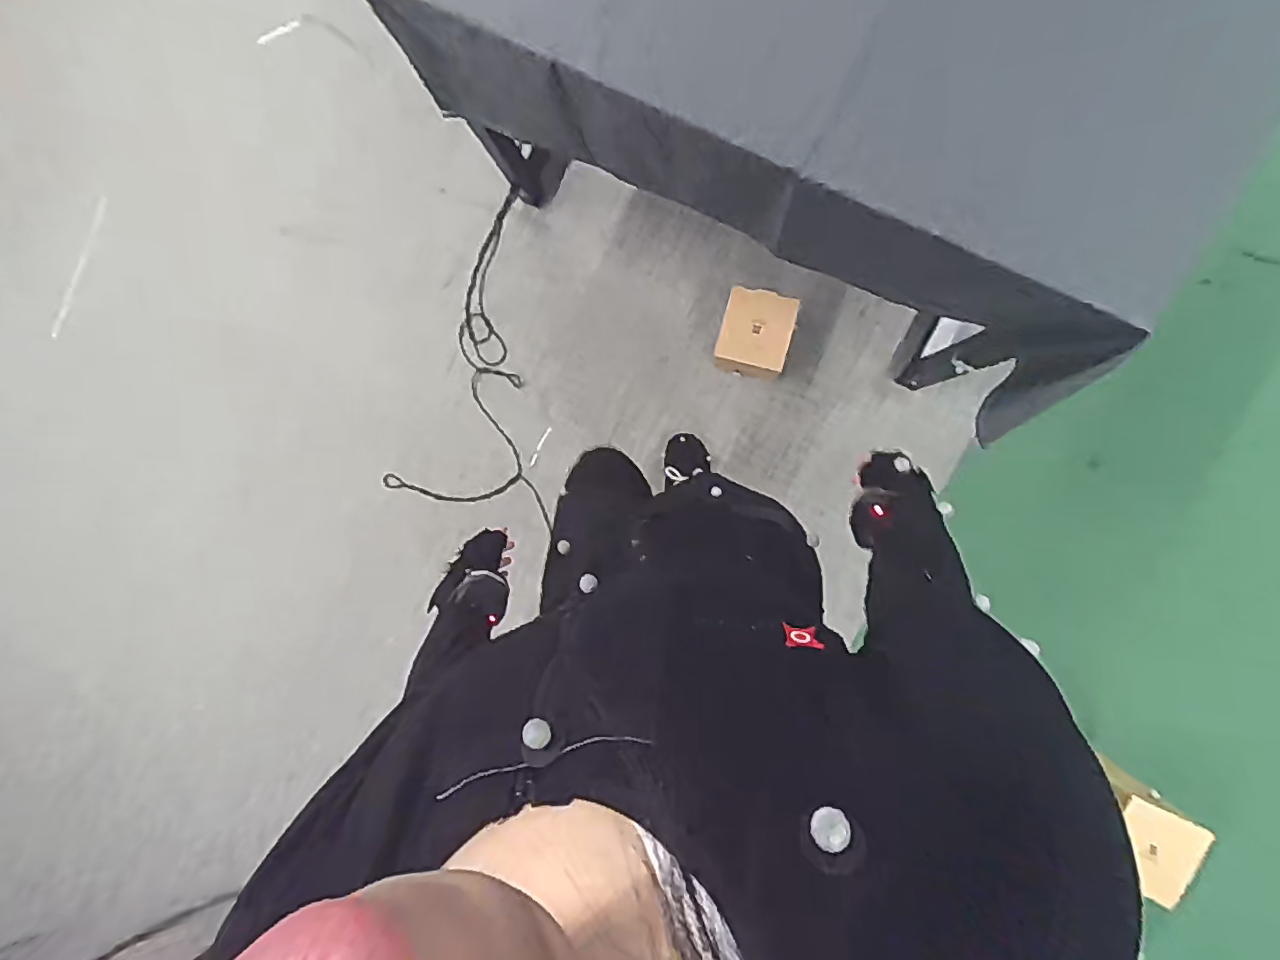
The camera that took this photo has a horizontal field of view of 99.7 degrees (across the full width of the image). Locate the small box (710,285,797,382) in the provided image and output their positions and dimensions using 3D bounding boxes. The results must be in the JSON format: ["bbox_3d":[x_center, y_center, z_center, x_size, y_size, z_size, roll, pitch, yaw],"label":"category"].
[{"bbox_3d":[0.273,-0.358,1.348,0.168,0.176,0.179,16,93,5],"label":"small box"}]

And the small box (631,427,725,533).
[{"bbox_3d":[0.104,0.002,1.393,0.179,0.176,0.168,-44,60,-15],"label":"small box"}]

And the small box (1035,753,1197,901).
[{"bbox_3d":[1.005,0.731,1.161,0.168,0.176,0.179,25,95,4],"label":"small box"}]
